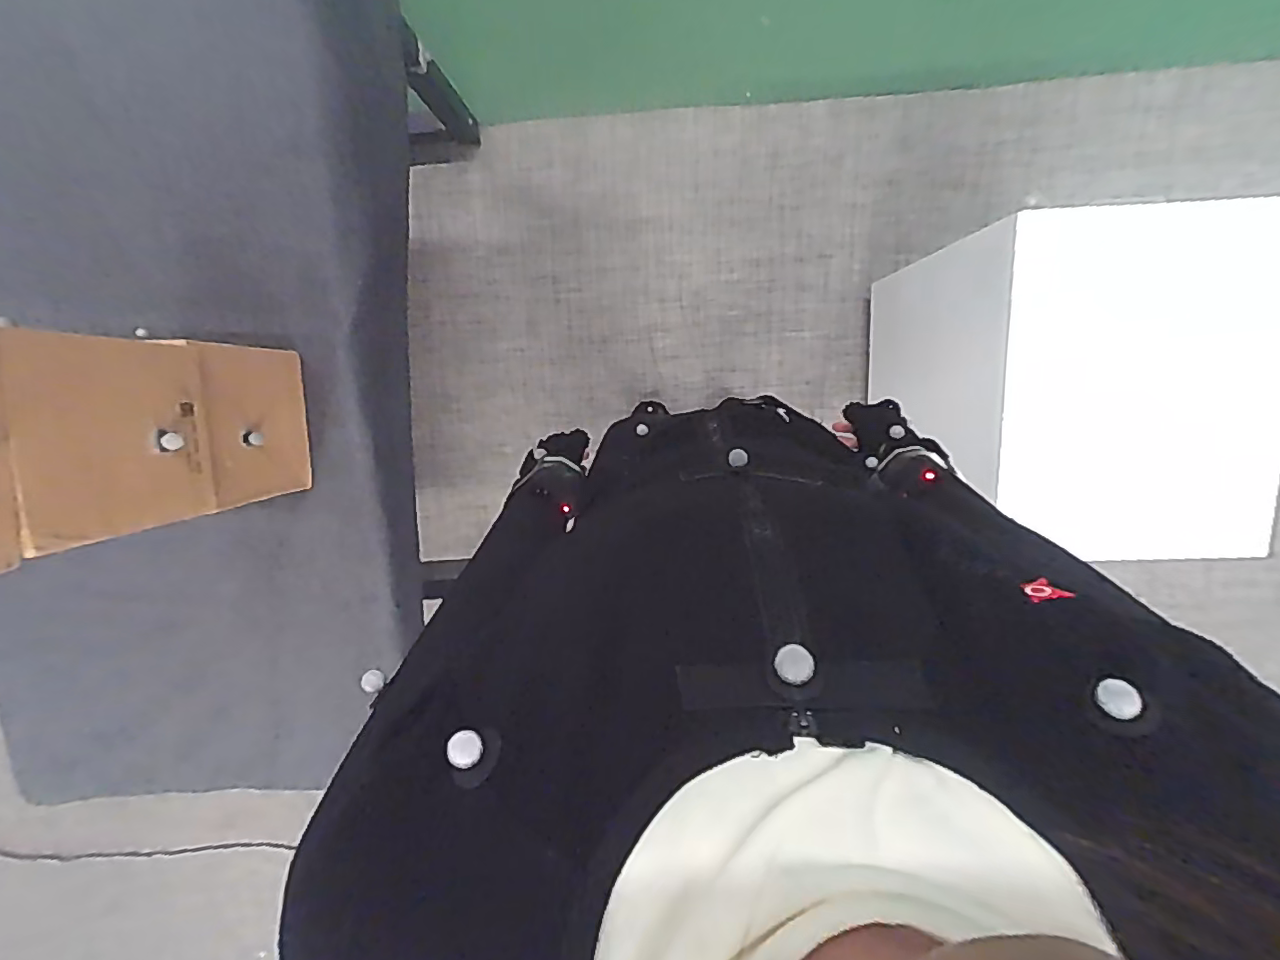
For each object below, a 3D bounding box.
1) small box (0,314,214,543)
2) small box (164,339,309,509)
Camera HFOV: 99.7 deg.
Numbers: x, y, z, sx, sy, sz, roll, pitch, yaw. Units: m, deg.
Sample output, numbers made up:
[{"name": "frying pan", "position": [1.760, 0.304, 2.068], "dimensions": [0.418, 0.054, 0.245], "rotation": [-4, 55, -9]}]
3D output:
[{"name": "small box", "position": [-0.527, -0.045, 0.468], "dimensions": [0.179, 0.176, 0.168], "rotation": [-2, 99, 6]}, {"name": "small box", "position": [-0.519, -0.072, 0.630], "dimensions": [0.168, 0.176, 0.179], "rotation": [0, 100, 4]}]
